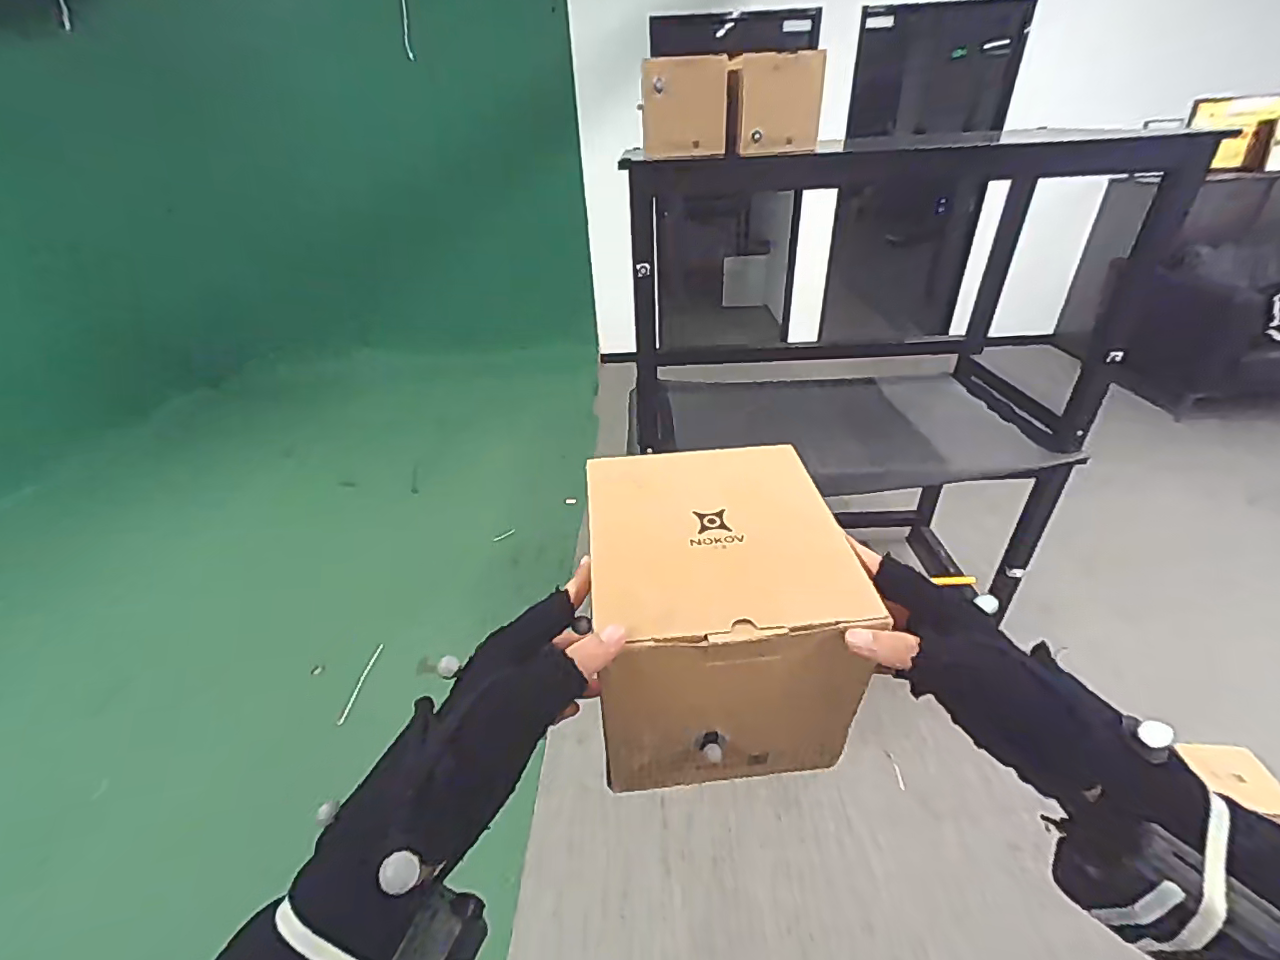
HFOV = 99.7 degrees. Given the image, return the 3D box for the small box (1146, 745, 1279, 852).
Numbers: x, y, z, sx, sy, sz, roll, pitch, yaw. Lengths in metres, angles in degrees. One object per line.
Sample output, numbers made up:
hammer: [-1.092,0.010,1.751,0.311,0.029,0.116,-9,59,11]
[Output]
small box: [1.416,0.780,1.323,0.179,0.176,0.168,1,33,7]
